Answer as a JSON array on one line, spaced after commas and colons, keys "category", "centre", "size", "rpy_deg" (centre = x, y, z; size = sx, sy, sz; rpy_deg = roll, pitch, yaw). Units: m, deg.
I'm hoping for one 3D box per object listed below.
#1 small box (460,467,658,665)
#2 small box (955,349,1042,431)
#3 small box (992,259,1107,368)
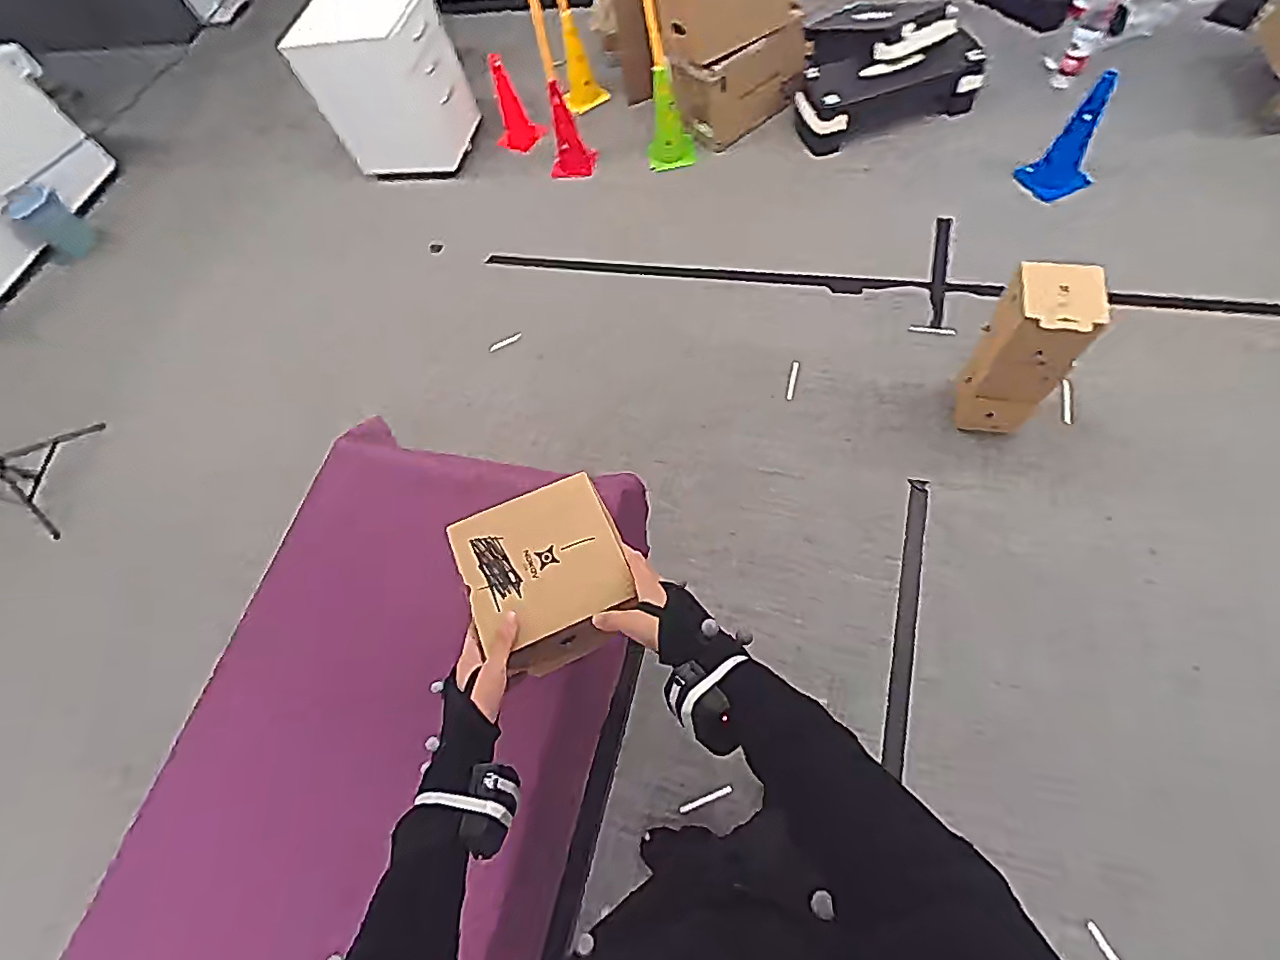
[{"category": "small box", "centre": [-0.091, 0.117, 0.674], "size": [0.179, 0.176, 0.168], "rpy_deg": [-25, 66, -3]}, {"category": "small box", "centre": [1.039, -0.259, 1.581], "size": [0.168, 0.176, 0.179], "rpy_deg": [6, 66, 13]}, {"category": "small box", "centre": [0.963, -0.394, 1.287], "size": [0.168, 0.176, 0.179], "rpy_deg": [10, 68, 14]}]
